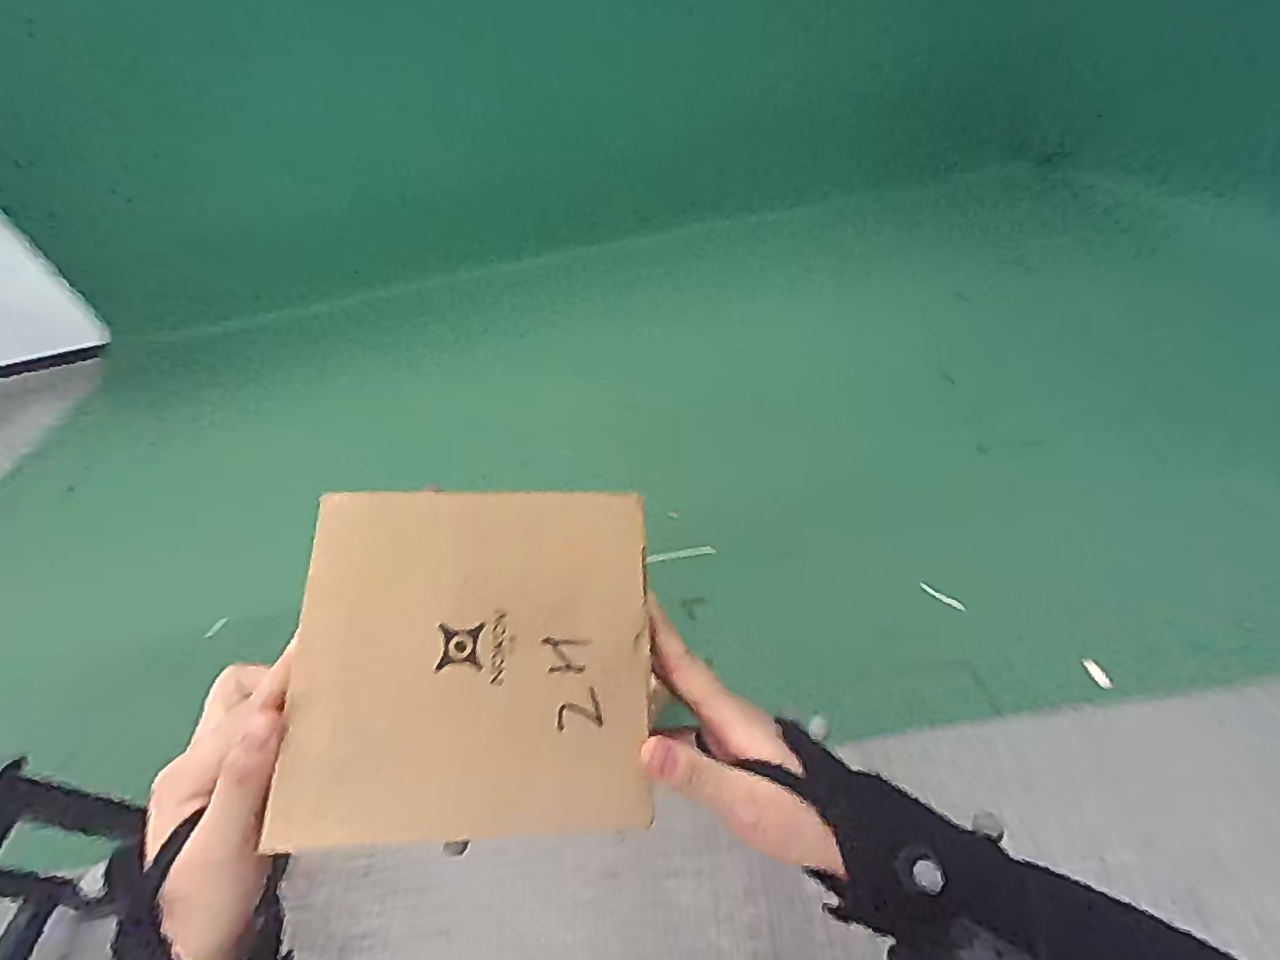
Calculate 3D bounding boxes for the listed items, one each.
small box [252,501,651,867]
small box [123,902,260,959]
[{"bbox_3d":[-0.091,0.116,0.340,0.179,0.176,0.168,-1,71,-7],"label":"small box"},{"bbox_3d":[-0.993,1.048,1.190,0.168,0.176,0.179,-6,46,6],"label":"small box"}]
